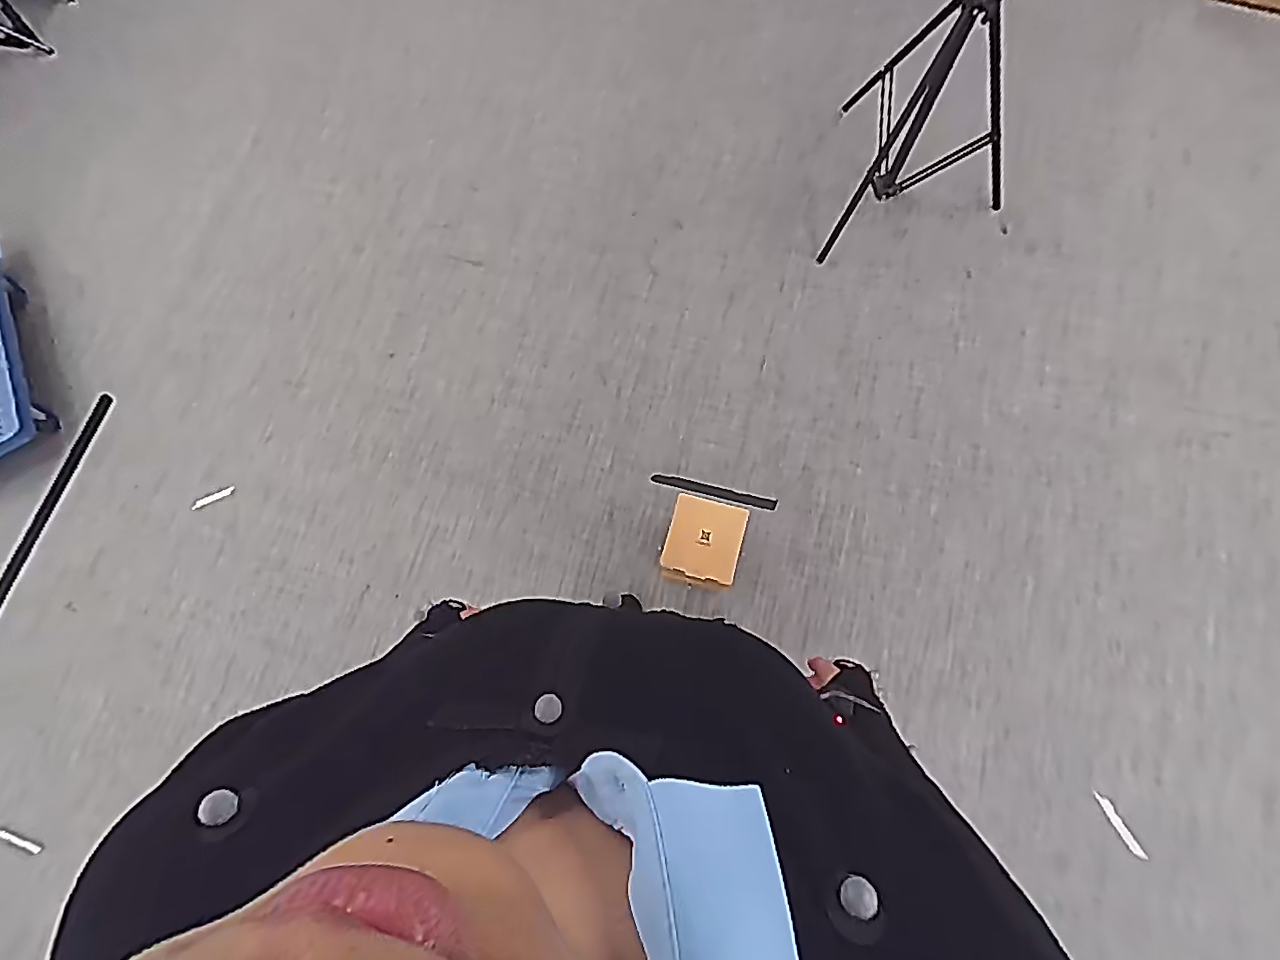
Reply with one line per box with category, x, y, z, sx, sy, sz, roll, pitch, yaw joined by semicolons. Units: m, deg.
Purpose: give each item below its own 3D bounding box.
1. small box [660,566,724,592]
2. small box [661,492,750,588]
small box;0.156;0.194;1.433;0.168;0.176;0.179;13;77;7
small box;0.150;0.147;1.277;0.168;0.176;0.179;14;78;8
